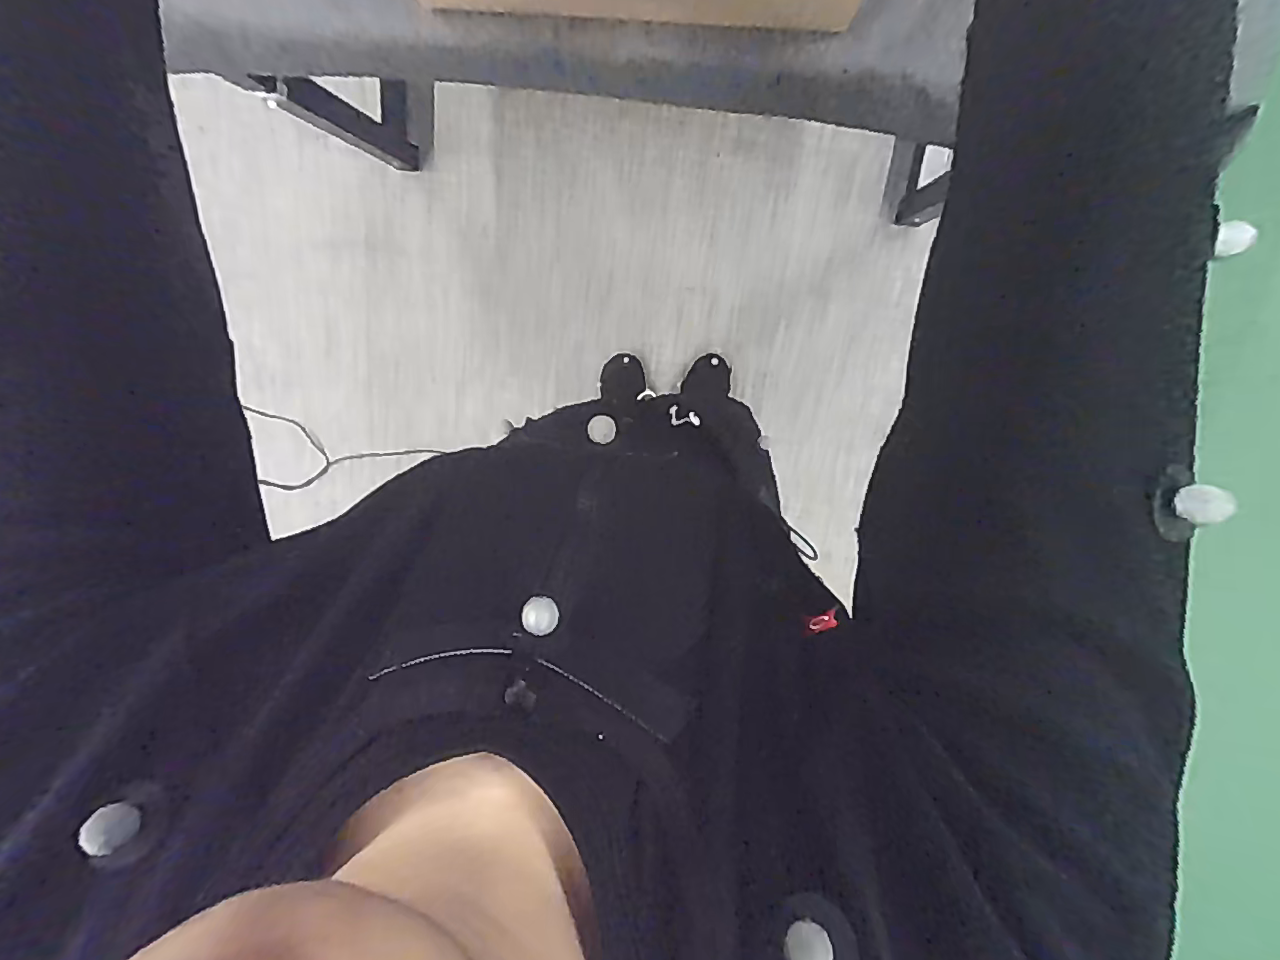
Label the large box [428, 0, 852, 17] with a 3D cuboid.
[{"bbox_3d":[-0.009,-0.548,0.327,0.408,0.320,0.320,5,105,3],"label":"large box"}]
